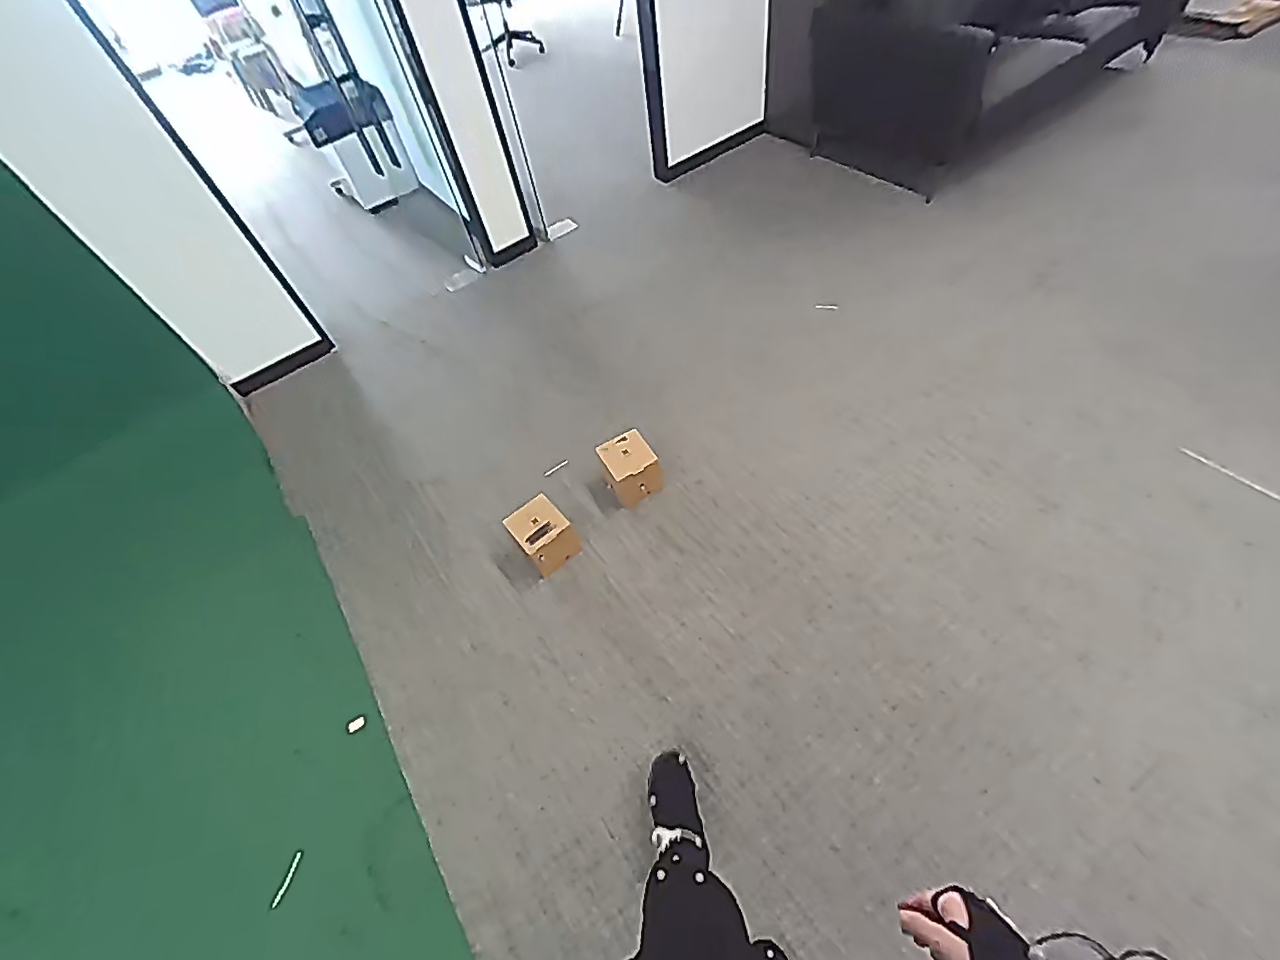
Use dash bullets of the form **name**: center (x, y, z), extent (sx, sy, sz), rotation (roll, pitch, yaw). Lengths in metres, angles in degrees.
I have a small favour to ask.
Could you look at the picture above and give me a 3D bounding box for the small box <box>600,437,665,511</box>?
- **small box**: center (-0.021, -0.013, 1.926), extent (0.168, 0.176, 0.179), rotation (-27, 55, -11)
